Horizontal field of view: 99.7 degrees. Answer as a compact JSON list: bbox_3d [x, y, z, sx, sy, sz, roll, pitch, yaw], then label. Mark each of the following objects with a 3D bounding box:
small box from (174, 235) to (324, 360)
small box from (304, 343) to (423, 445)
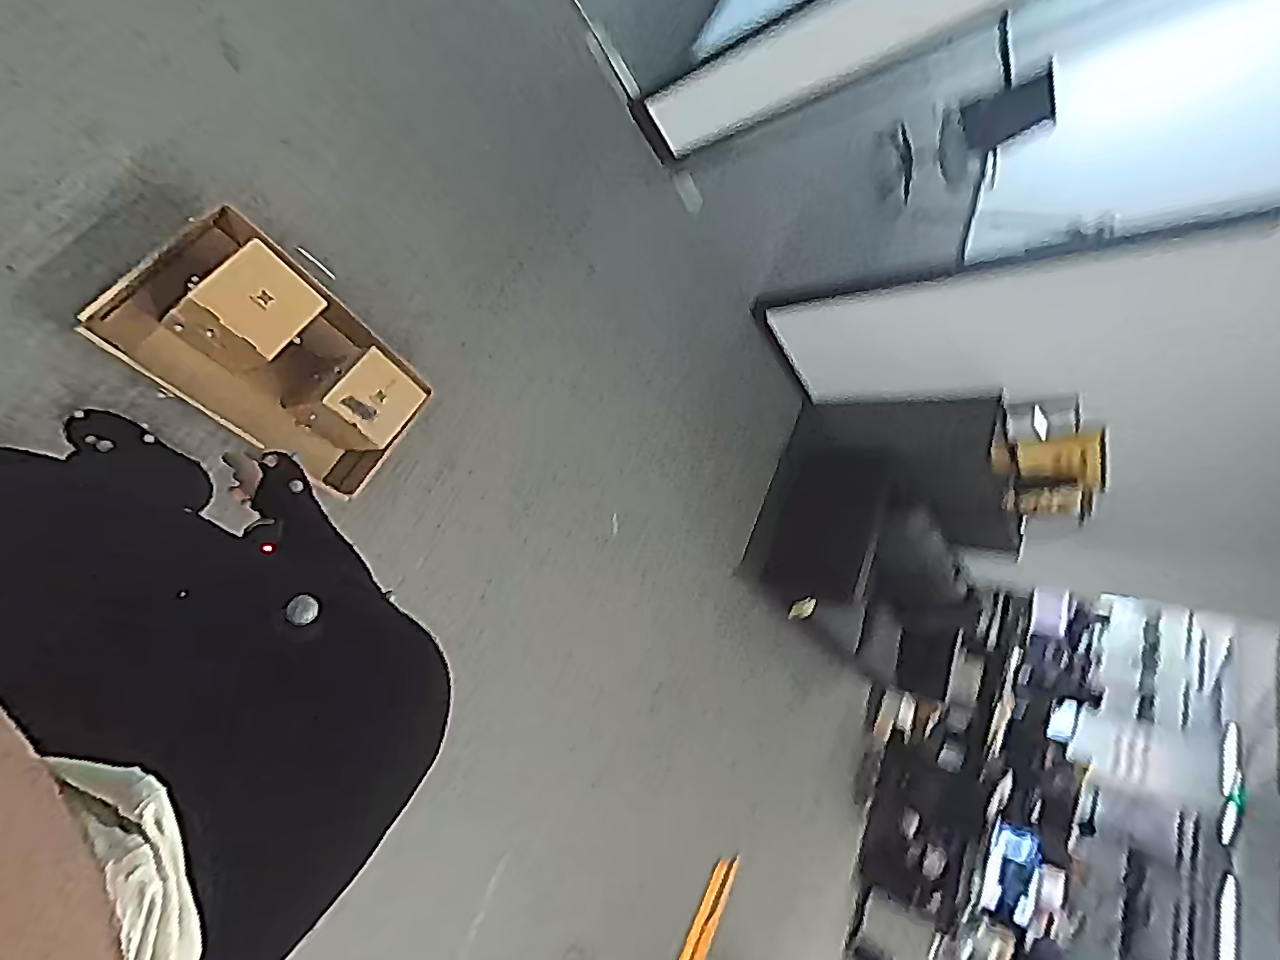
[{"bbox_3d":[-0.809,-0.368,1.117,0.168,0.176,0.179,50,58,-39],"label":"small box"},{"bbox_3d":[-0.664,-0.197,1.290,0.168,0.176,0.179,50,57,-36],"label":"small box"}]
